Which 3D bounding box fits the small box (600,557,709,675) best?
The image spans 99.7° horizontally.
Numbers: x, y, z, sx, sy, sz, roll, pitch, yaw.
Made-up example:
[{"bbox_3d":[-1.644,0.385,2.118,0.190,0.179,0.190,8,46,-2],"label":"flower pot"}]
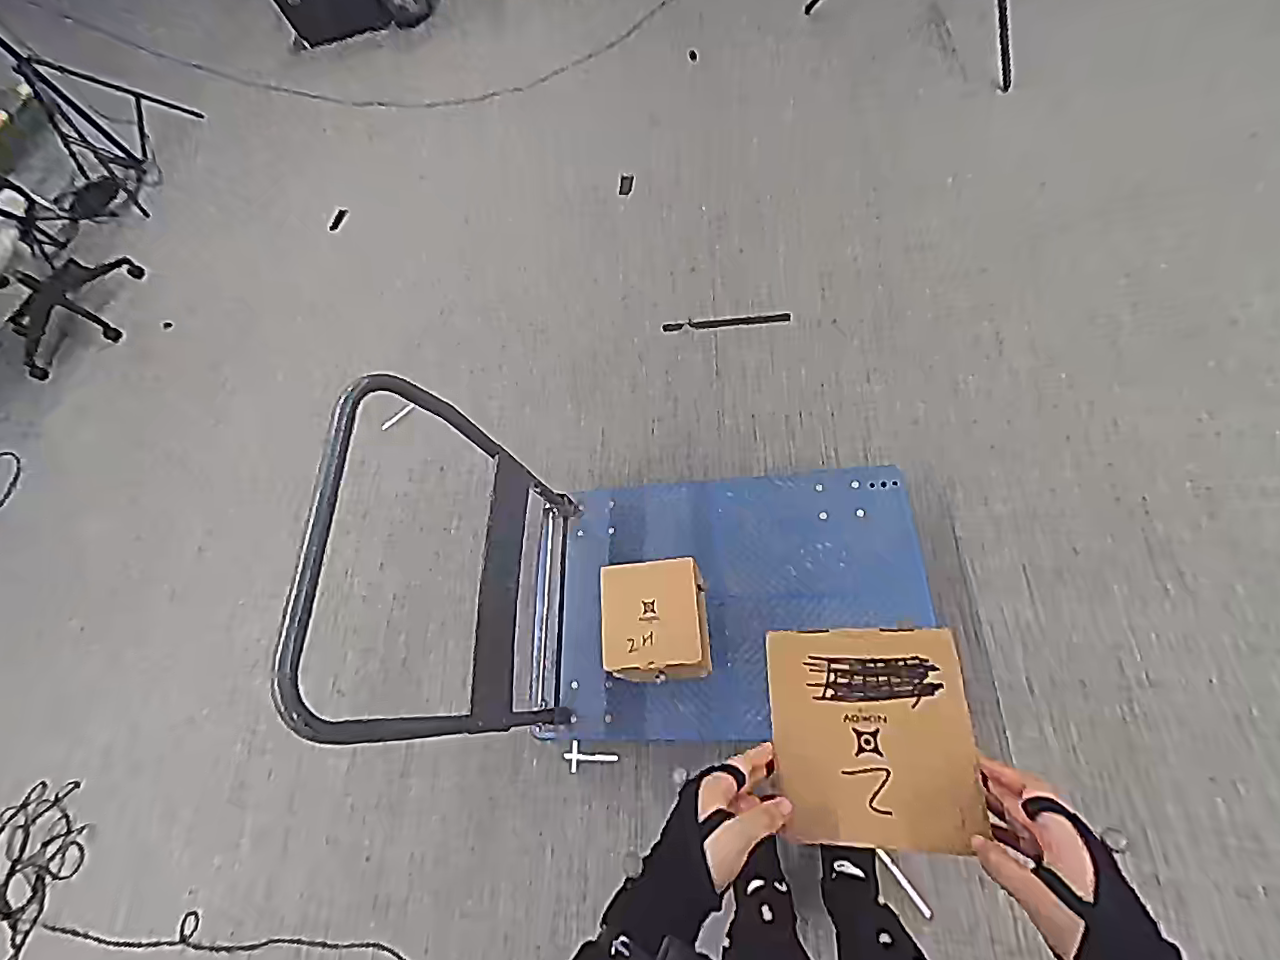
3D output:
[{"bbox_3d":[0.029,0.250,0.971,0.168,0.176,0.179,-8,67,10],"label":"small box"}]
